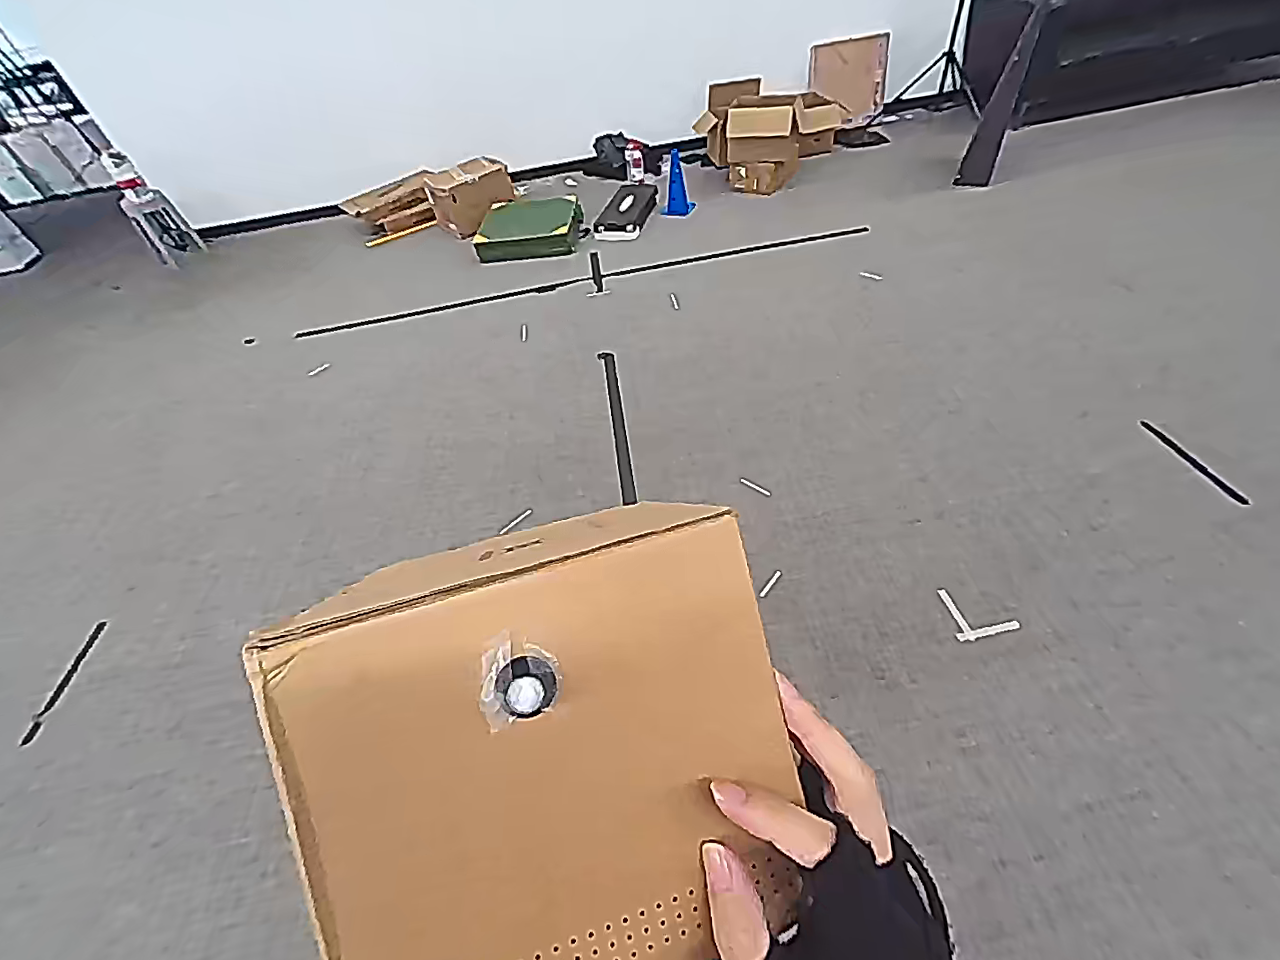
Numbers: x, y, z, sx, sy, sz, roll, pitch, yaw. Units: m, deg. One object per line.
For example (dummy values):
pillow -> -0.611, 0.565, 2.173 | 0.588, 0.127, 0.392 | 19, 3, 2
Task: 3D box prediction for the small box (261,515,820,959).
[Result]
small box -> -0.039, 0.121, 0.272 | 0.179, 0.168, 0.176 | -14, 92, -11
